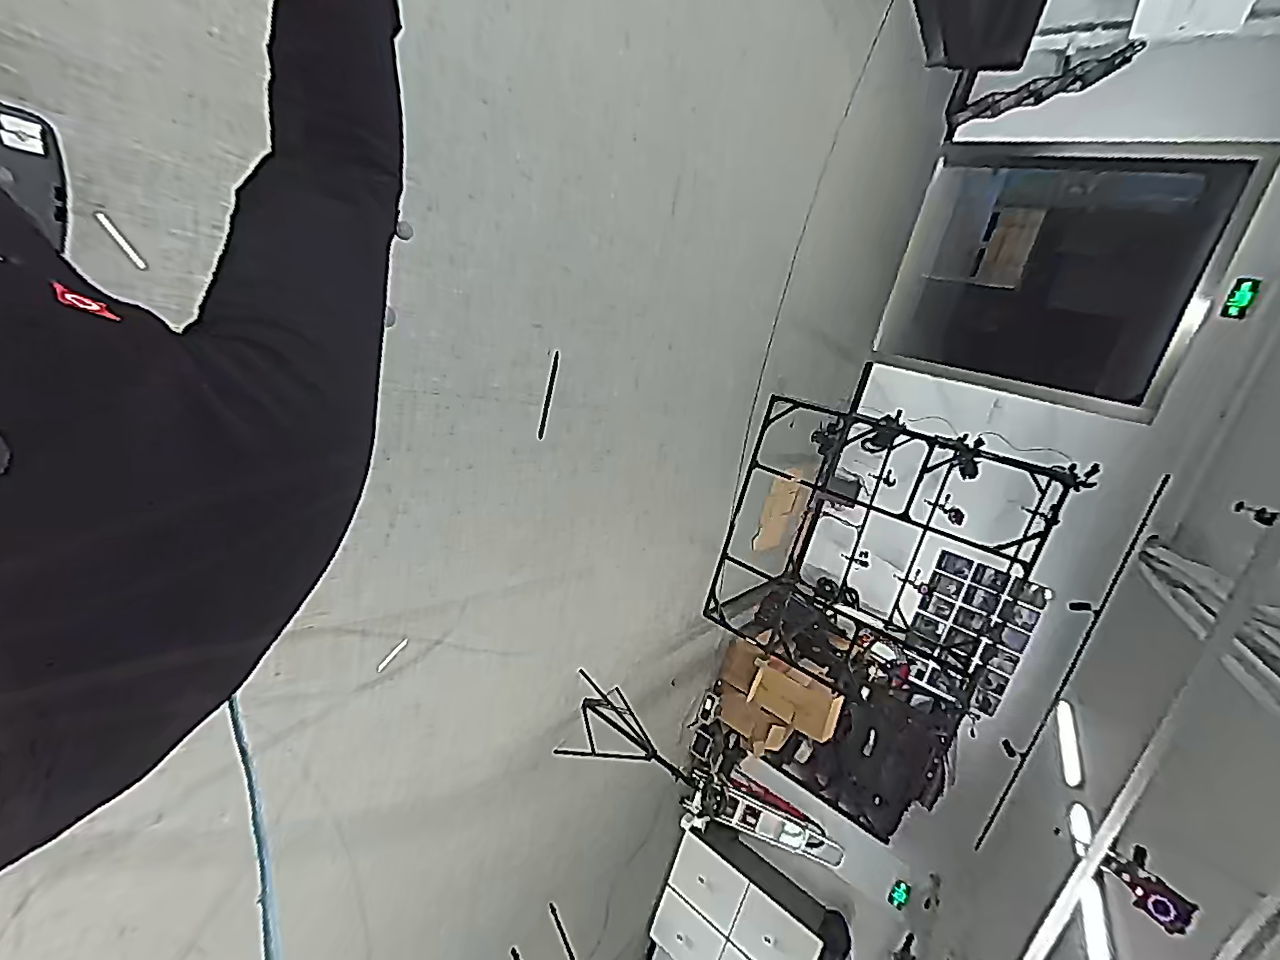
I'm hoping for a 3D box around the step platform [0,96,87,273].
[{"bbox_3d":[-1.292,-0.521,0.785,0.684,0.204,0.286,-8,117,-55],"label":"step platform"}]
